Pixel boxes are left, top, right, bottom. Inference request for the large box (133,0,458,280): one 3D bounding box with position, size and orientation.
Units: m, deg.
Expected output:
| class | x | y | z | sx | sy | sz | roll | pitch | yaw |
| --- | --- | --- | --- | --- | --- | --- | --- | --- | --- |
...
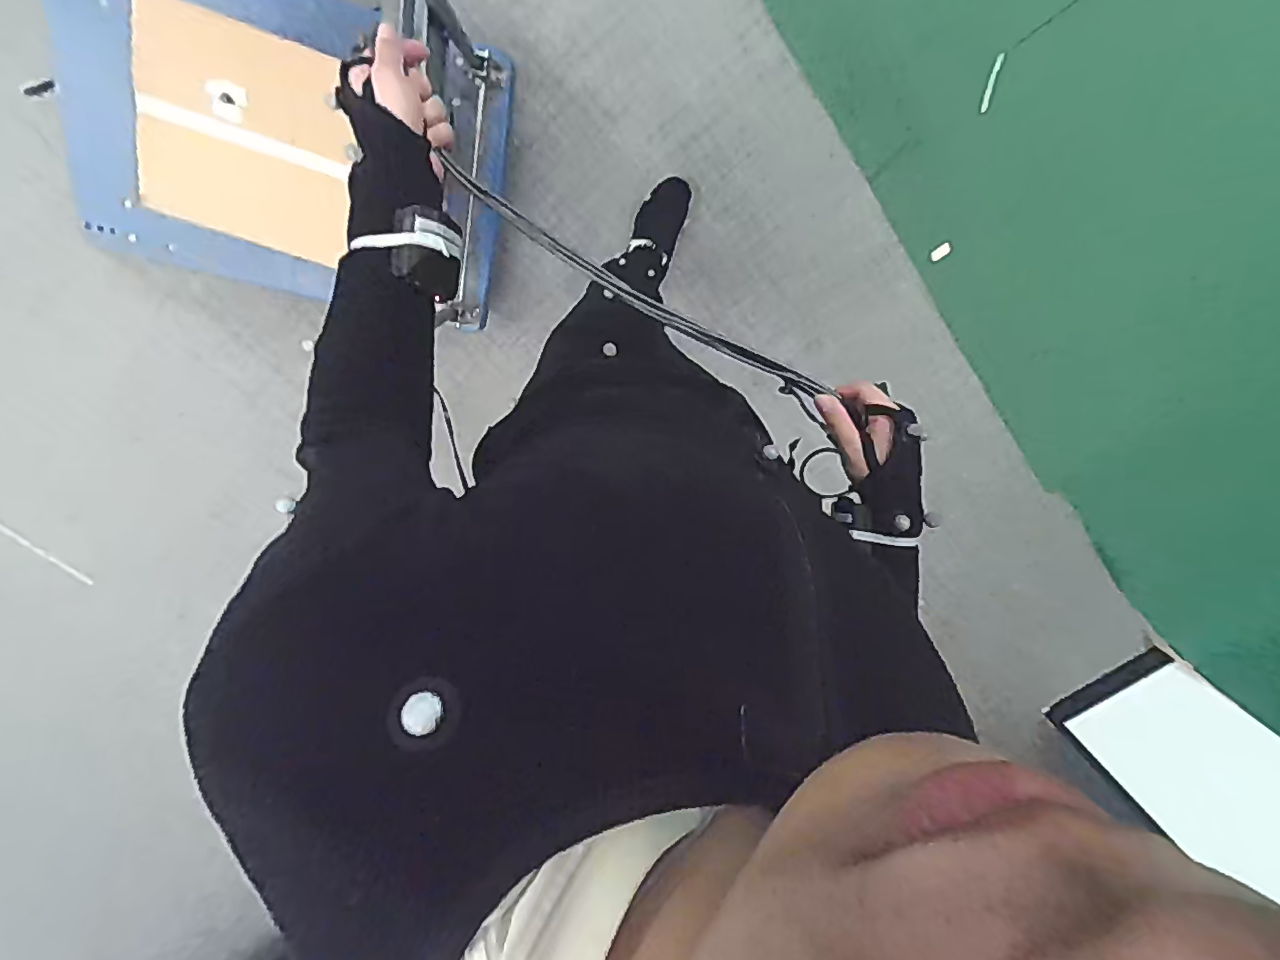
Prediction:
| class | x | y | z | sx | sy | sz | roll | pitch | yaw |
| --- | --- | --- | --- | --- | --- | --- | --- | --- | --- |
| large box | -0.596 | -0.598 | 1.007 | 0.408 | 0.320 | 0.320 | 15 | 112 | -10 |
